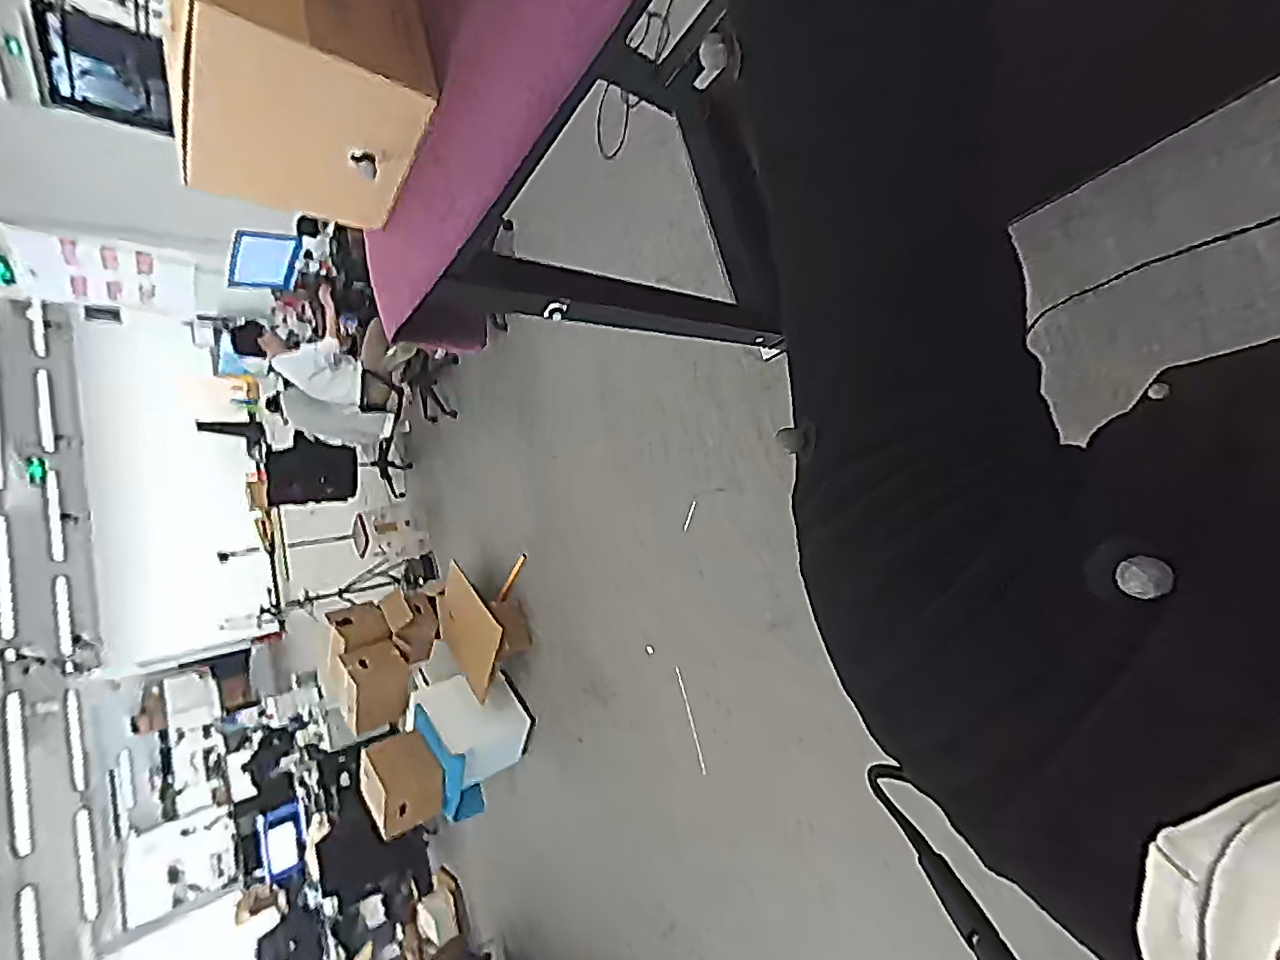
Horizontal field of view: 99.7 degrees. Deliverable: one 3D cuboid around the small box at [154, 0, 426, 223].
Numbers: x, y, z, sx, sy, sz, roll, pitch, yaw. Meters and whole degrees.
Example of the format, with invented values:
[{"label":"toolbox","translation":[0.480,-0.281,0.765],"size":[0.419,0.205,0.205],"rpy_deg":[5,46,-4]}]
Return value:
[{"label":"small box","translation":[-0.302,-0.364,0.473],"size":[0.179,0.176,0.168],"rpy_deg":[-28,74,44]}]
